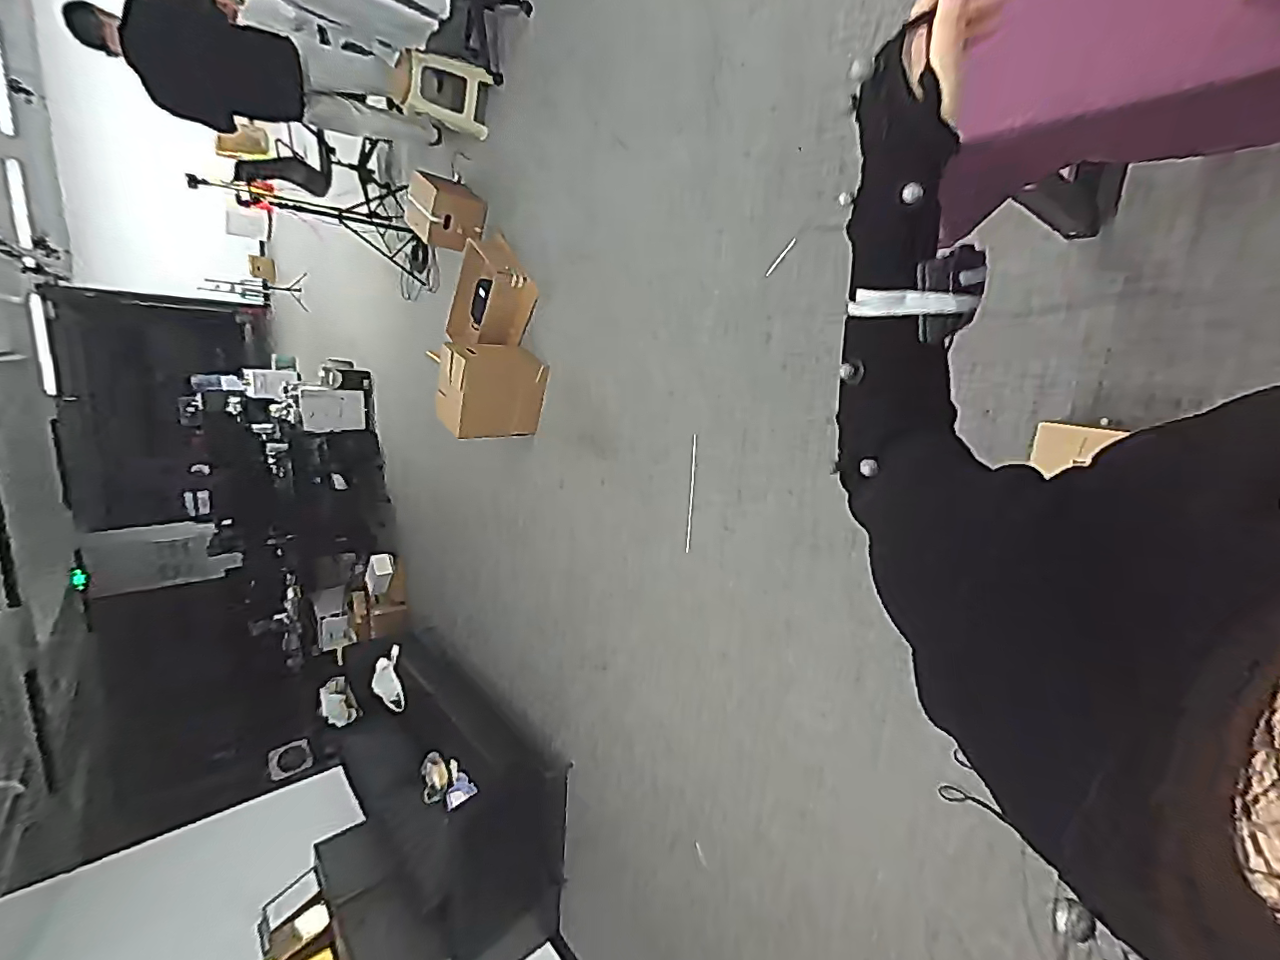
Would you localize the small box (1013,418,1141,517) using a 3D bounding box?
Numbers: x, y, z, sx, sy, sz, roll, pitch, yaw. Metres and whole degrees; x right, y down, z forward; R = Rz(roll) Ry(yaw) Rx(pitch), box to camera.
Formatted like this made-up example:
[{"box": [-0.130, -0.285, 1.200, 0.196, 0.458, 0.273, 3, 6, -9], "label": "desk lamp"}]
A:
[{"box": [0.941, -0.035, 1.163, 0.168, 0.176, 0.179, 19, 108, 46], "label": "small box"}]
